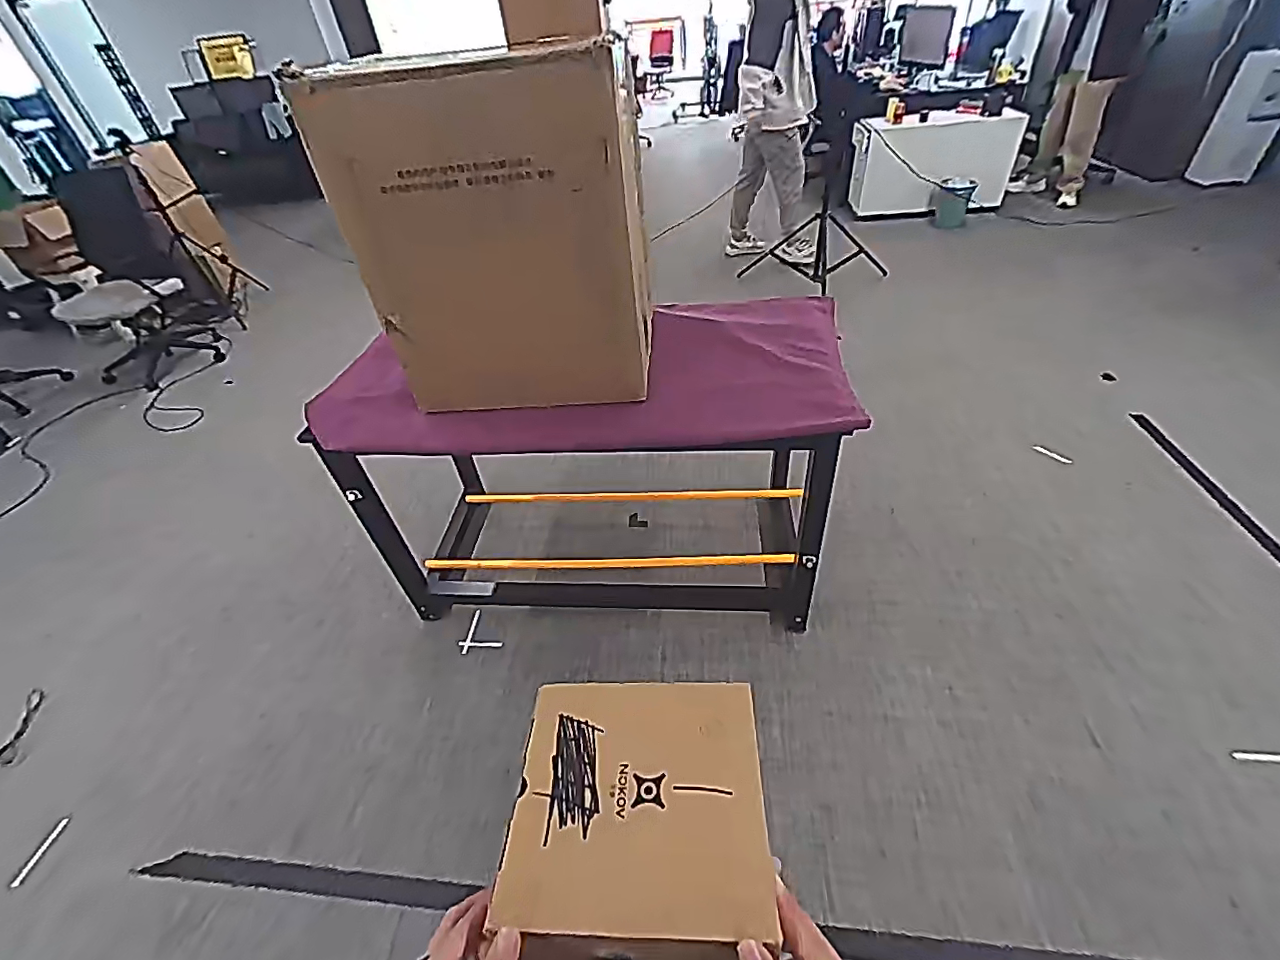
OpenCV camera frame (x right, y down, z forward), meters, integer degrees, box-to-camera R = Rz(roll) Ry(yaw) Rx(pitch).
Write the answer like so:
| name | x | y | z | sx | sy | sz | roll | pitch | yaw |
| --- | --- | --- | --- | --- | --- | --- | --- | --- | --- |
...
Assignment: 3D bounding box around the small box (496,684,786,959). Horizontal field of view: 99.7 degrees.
| name | x | y | z | sx | sy | sz | roll | pitch | yaw |
| --- | --- | --- | --- | --- | --- | --- | --- | --- | --- |
| small box | 0.012 | 0.282 | 0.424 | 0.179 | 0.176 | 0.168 | -3 | 36 | 6 |
